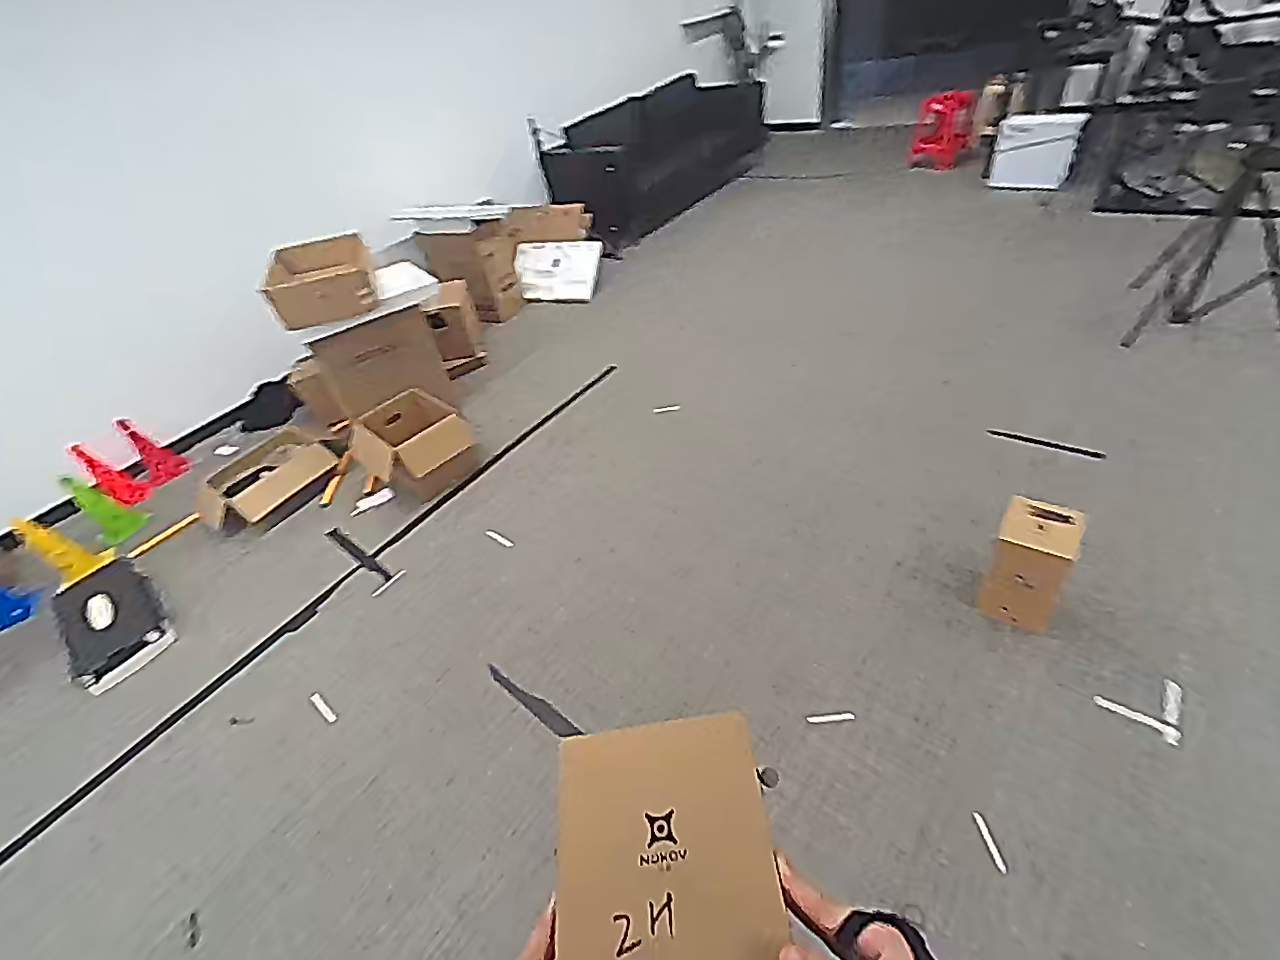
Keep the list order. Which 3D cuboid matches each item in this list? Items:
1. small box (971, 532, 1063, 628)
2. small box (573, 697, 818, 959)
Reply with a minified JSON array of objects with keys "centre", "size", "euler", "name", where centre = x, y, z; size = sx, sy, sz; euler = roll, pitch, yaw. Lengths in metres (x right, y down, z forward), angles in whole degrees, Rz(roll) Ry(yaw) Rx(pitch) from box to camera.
[{"centre":[1.080,0.288,1.557],"size":[0.168,0.176,0.179],"euler":[20,51,32],"name":"small box"},{"centre":[0.044,0.315,0.467],"size":[0.168,0.176,0.179],"euler":[-11,47,5],"name":"small box"}]
